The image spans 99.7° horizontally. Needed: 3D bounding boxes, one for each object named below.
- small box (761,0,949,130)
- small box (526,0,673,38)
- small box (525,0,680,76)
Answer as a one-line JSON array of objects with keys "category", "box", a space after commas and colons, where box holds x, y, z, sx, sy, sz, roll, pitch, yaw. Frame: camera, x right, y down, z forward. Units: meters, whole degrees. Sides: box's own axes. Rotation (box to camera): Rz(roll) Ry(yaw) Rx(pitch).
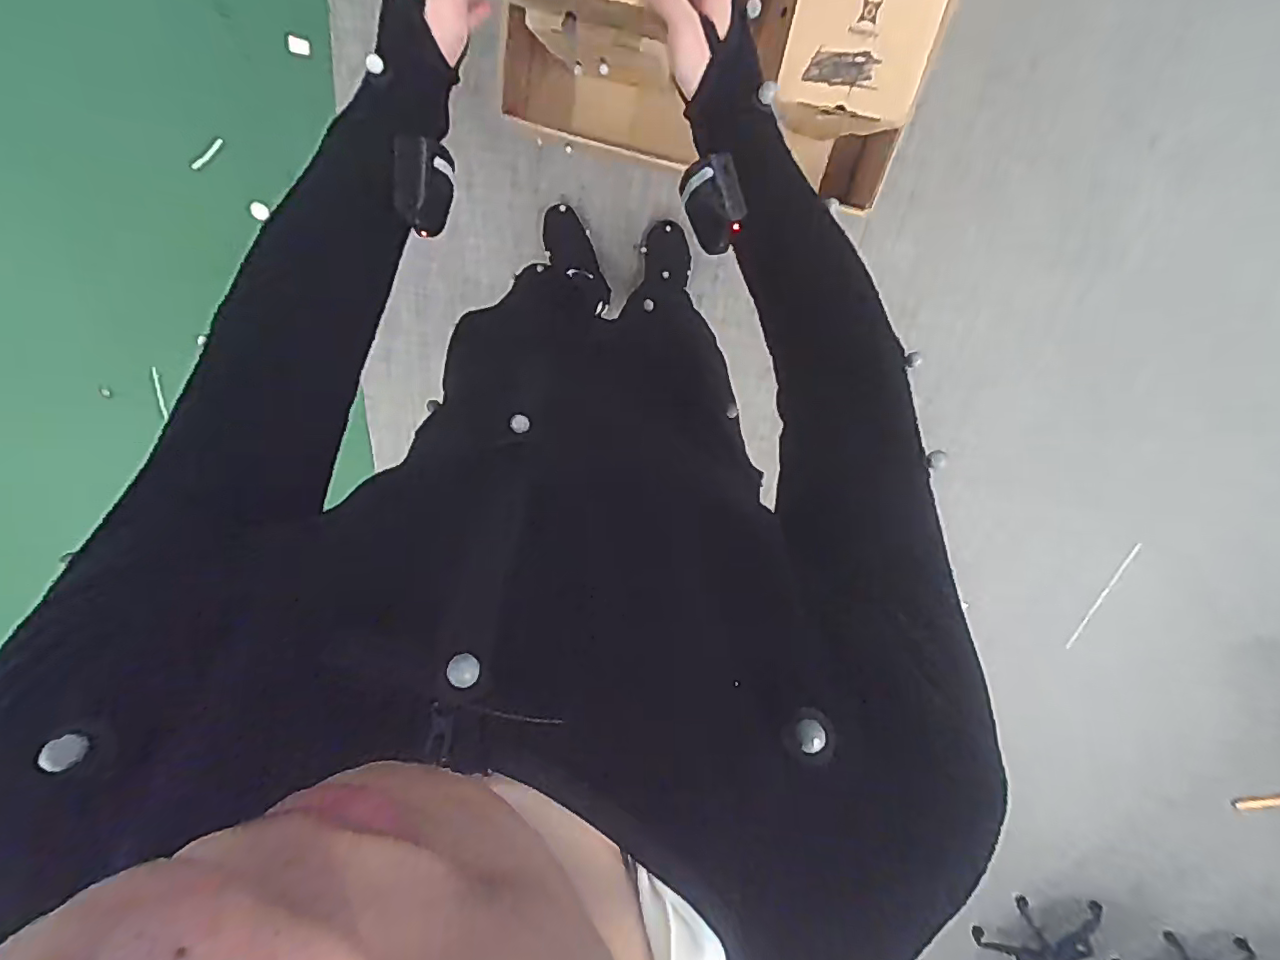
[{"category": "small box", "box": [0.257, -0.554, 0.672, 0.168, 0.176, 0.179, 10, 119, -3]}, {"category": "small box", "box": [-0.037, -0.520, 0.463, 0.168, 0.176, 0.179, 11, 121, -4]}, {"category": "small box", "box": [-0.032, -0.621, 0.650, 0.168, 0.176, 0.179, 11, 119, -2]}]
